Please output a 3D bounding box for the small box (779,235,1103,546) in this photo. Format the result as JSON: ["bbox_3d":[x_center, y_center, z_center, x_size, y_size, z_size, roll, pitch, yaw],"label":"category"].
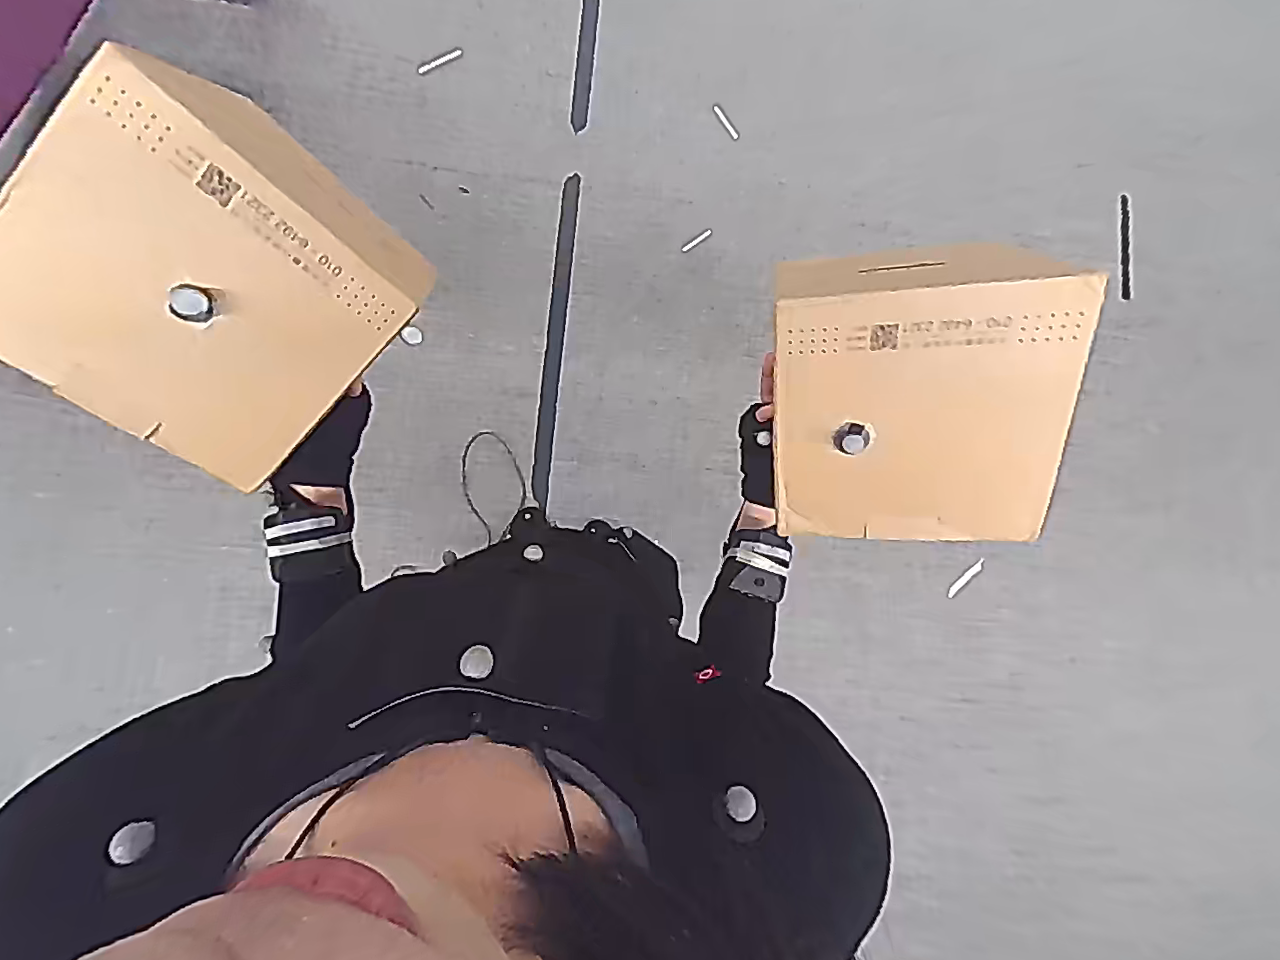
[{"bbox_3d":[0.186,-0.071,0.389,0.168,0.179,0.176,1,119,14],"label":"small box"}]

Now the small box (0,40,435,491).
[{"bbox_3d":[-0.257,-0.130,0.351,0.176,0.179,0.168,-44,119,8],"label":"small box"}]
